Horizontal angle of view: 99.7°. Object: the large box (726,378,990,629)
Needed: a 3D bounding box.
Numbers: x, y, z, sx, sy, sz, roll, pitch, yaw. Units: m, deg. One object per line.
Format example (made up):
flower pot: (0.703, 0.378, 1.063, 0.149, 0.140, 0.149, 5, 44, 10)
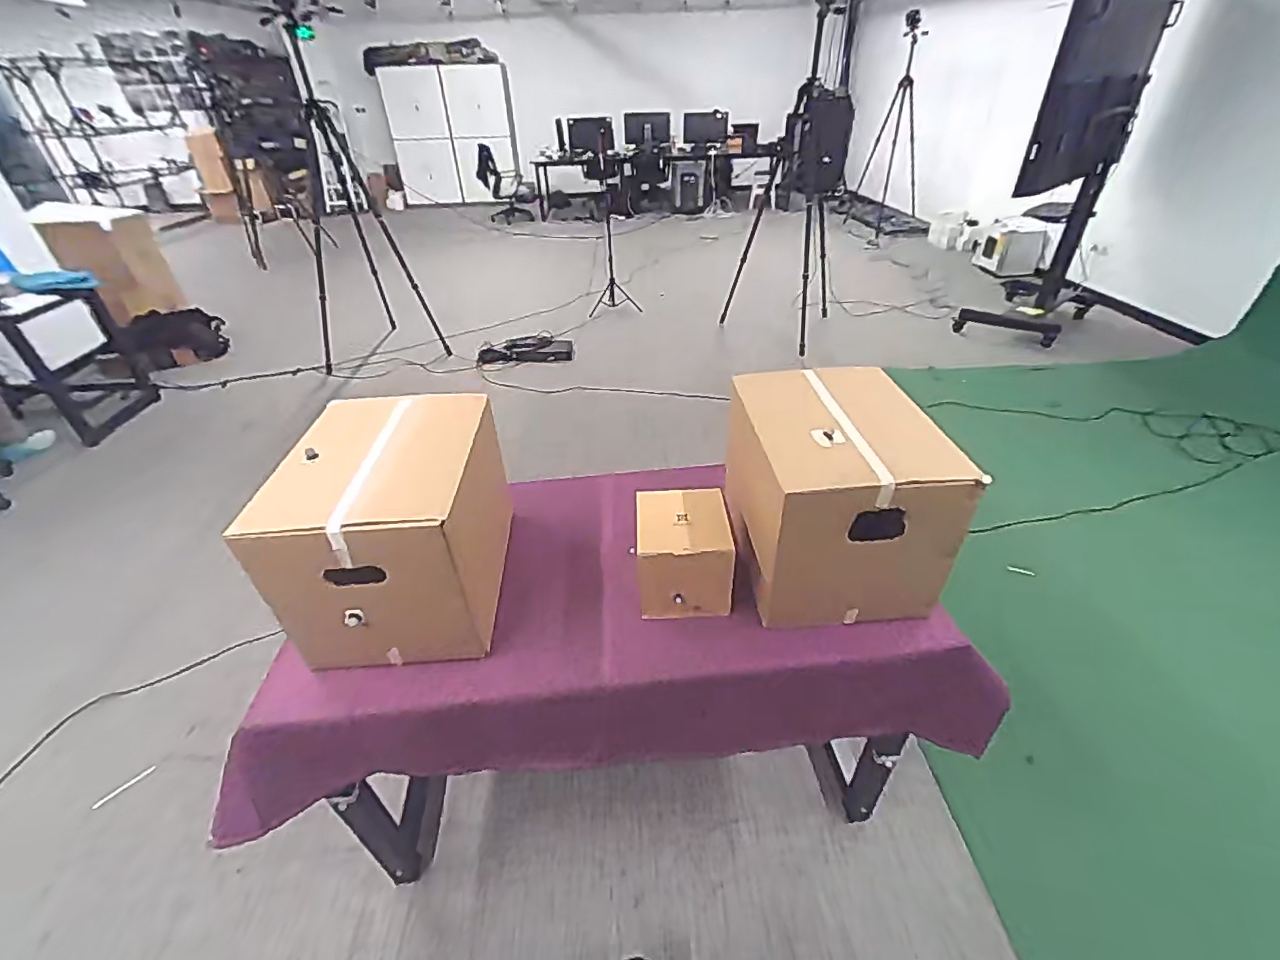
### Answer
large box: (0.367, 0.030, 1.055, 0.320, 0.320, 0.408, -3, 37, -2)
